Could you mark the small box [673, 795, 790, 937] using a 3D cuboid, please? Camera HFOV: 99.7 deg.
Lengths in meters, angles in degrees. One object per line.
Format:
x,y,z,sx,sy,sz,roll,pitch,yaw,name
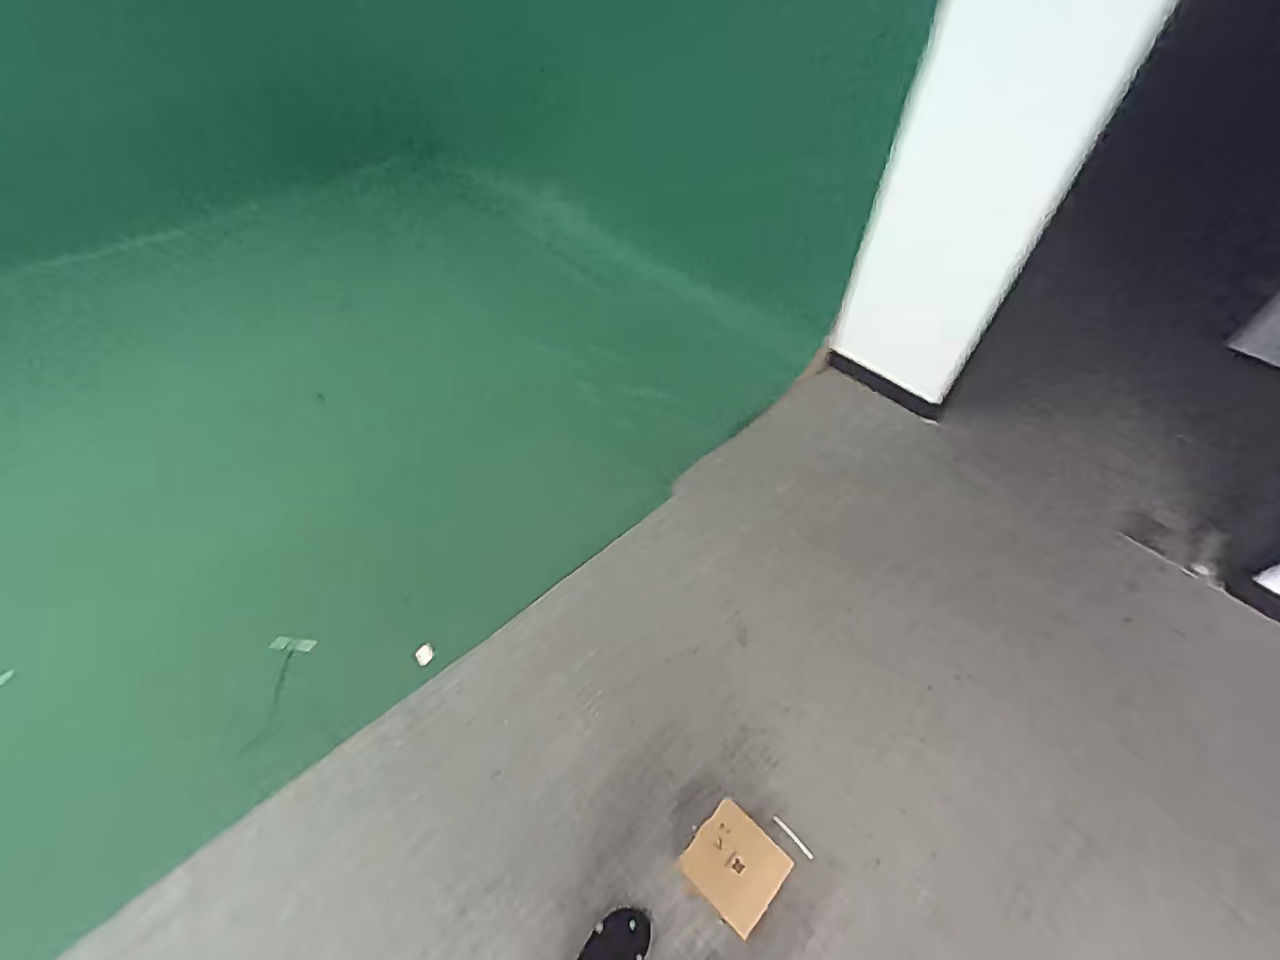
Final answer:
0.186,0.809,1.142,0.168,0.176,0.179,-38,60,-26,small box
